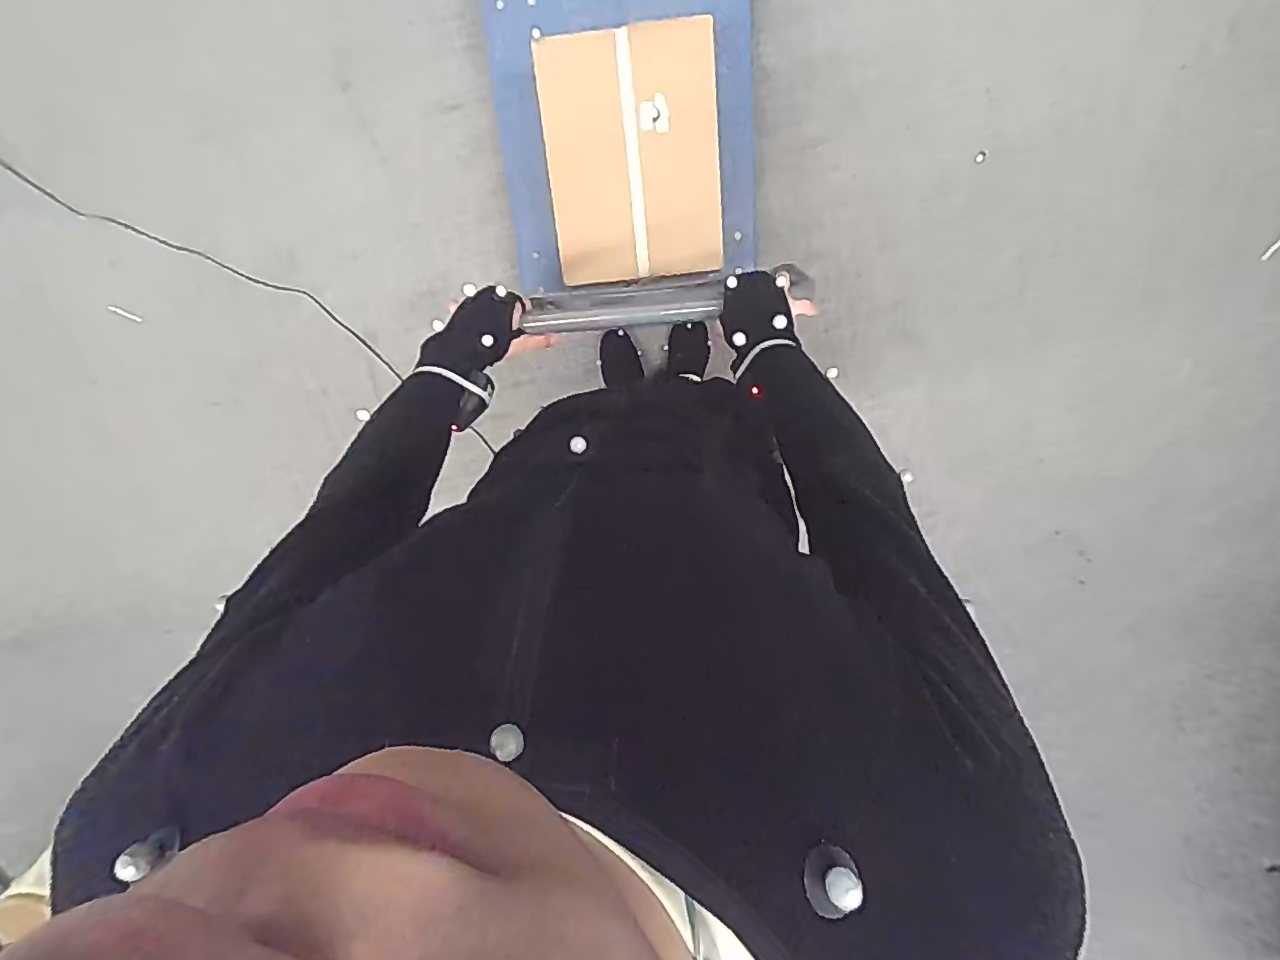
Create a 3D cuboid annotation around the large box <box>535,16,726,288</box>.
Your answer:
[{"bbox_3d":[-0.003,-0.629,1.122,0.320,0.320,0.408,-5,108,3],"label":"large box"}]
